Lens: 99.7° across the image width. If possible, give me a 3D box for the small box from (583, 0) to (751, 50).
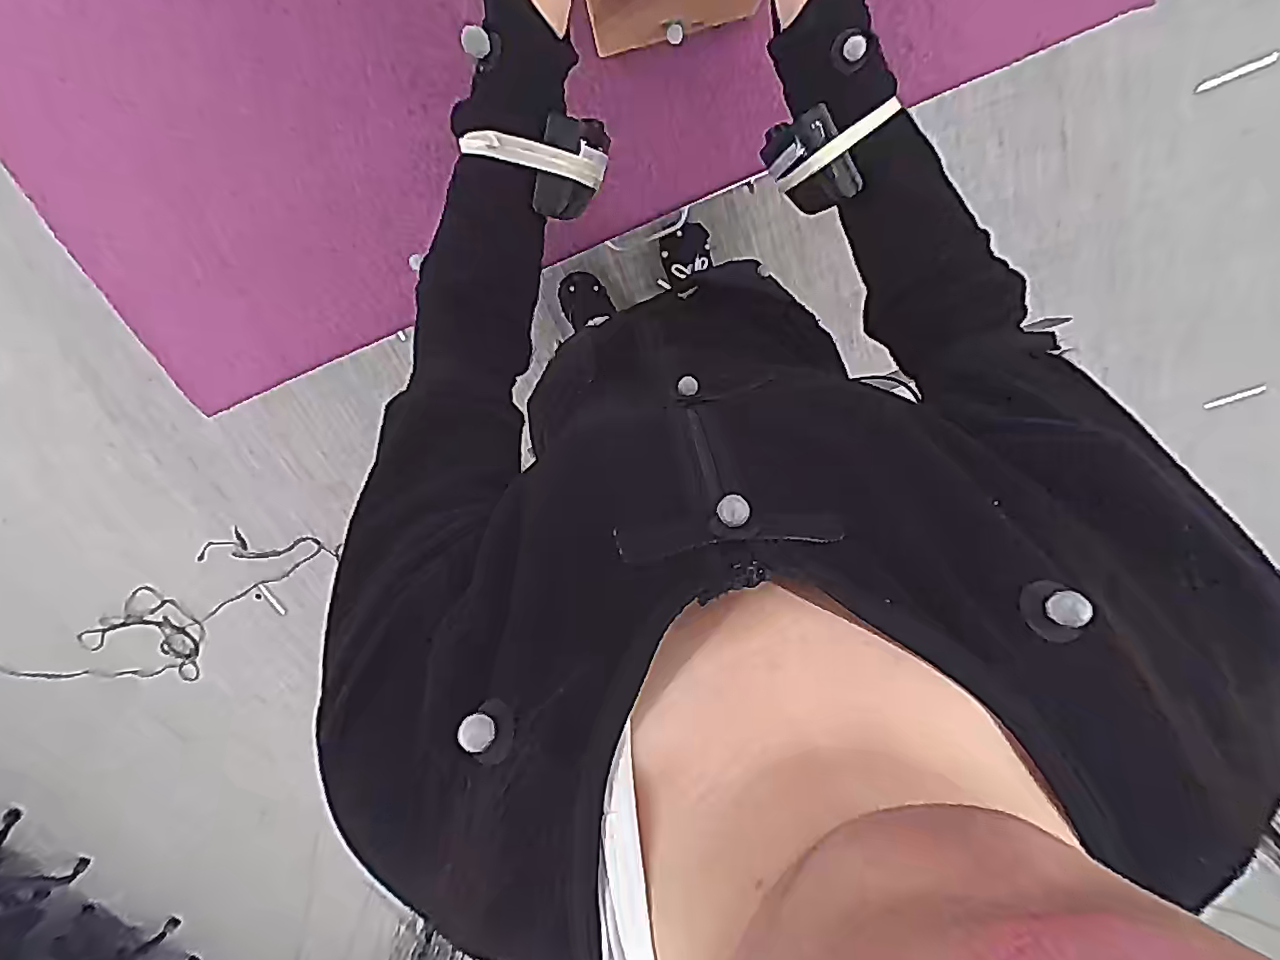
[{"bbox_3d":[0.015,-0.506,0.453,0.168,0.176,0.179,-11,115,6],"label":"small box"}]
